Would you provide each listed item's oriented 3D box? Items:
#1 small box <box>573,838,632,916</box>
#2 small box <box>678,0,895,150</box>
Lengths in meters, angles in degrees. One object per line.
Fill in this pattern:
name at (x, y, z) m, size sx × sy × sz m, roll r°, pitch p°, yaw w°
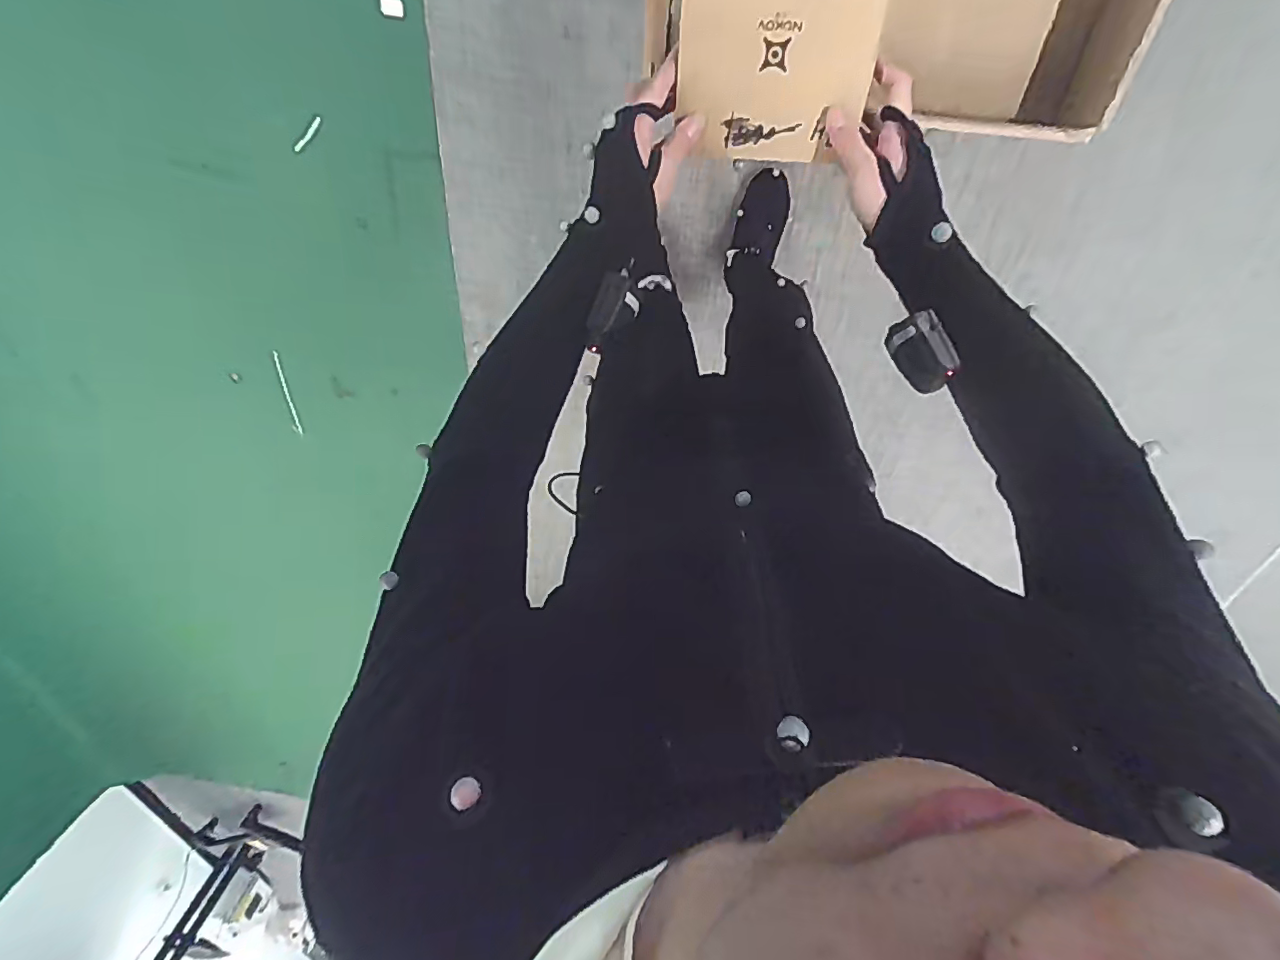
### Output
small box at (-0.117, 1.264, 1.742) m, size 0.168 × 0.176 × 0.179 m, roll 5°, pitch 125°, yaw 4°
small box at (0.128, -0.428, 0.499) m, size 0.168 × 0.176 × 0.179 m, roll 7°, pitch 133°, yaw 3°
